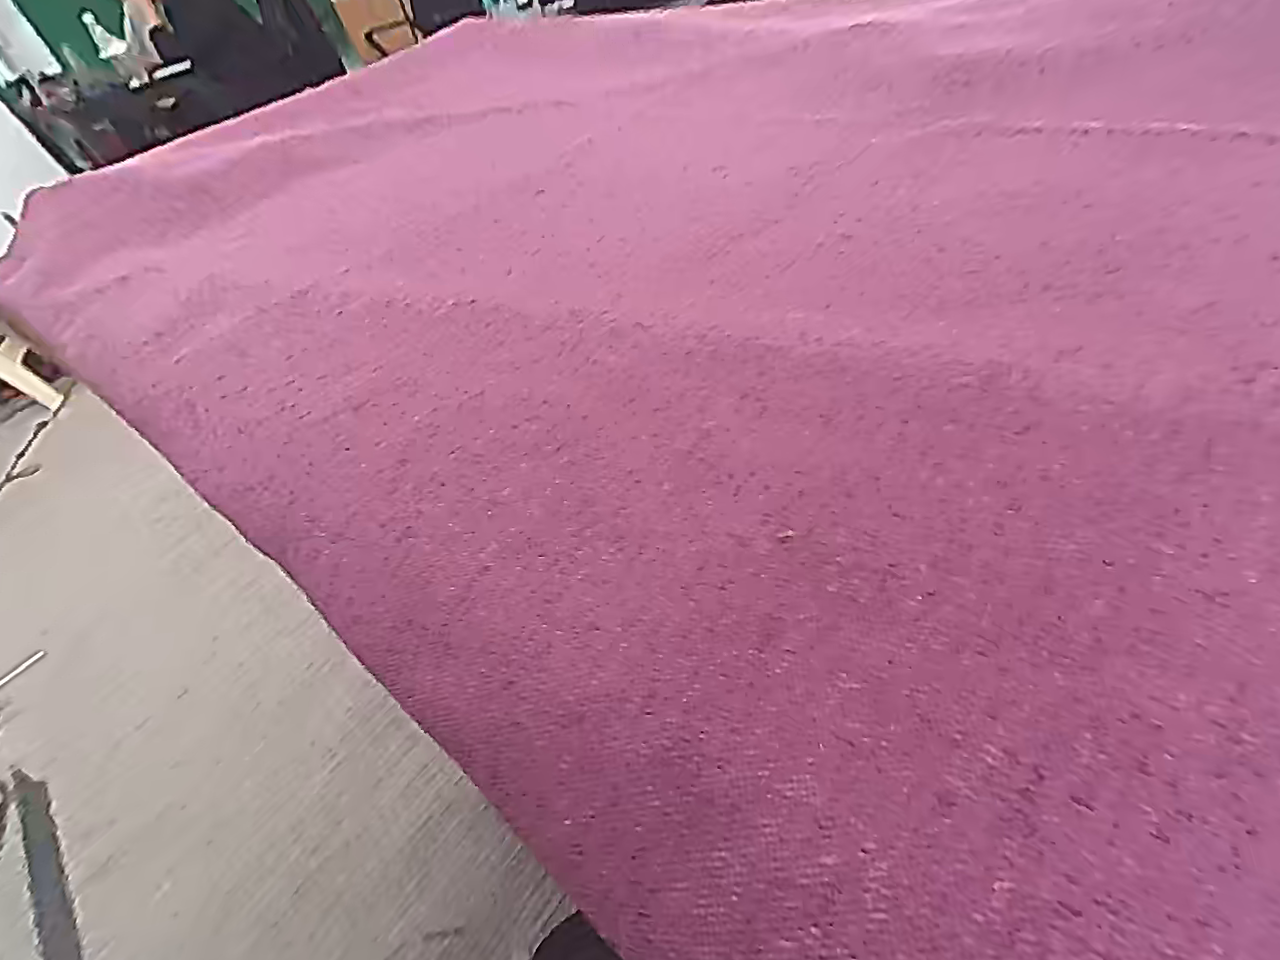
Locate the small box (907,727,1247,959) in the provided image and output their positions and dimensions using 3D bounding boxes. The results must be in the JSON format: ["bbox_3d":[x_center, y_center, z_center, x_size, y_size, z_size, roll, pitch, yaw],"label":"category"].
[{"bbox_3d":[0.358,0.367,0.466,0.179,0.176,0.168,25,43,35],"label":"small box"}]
